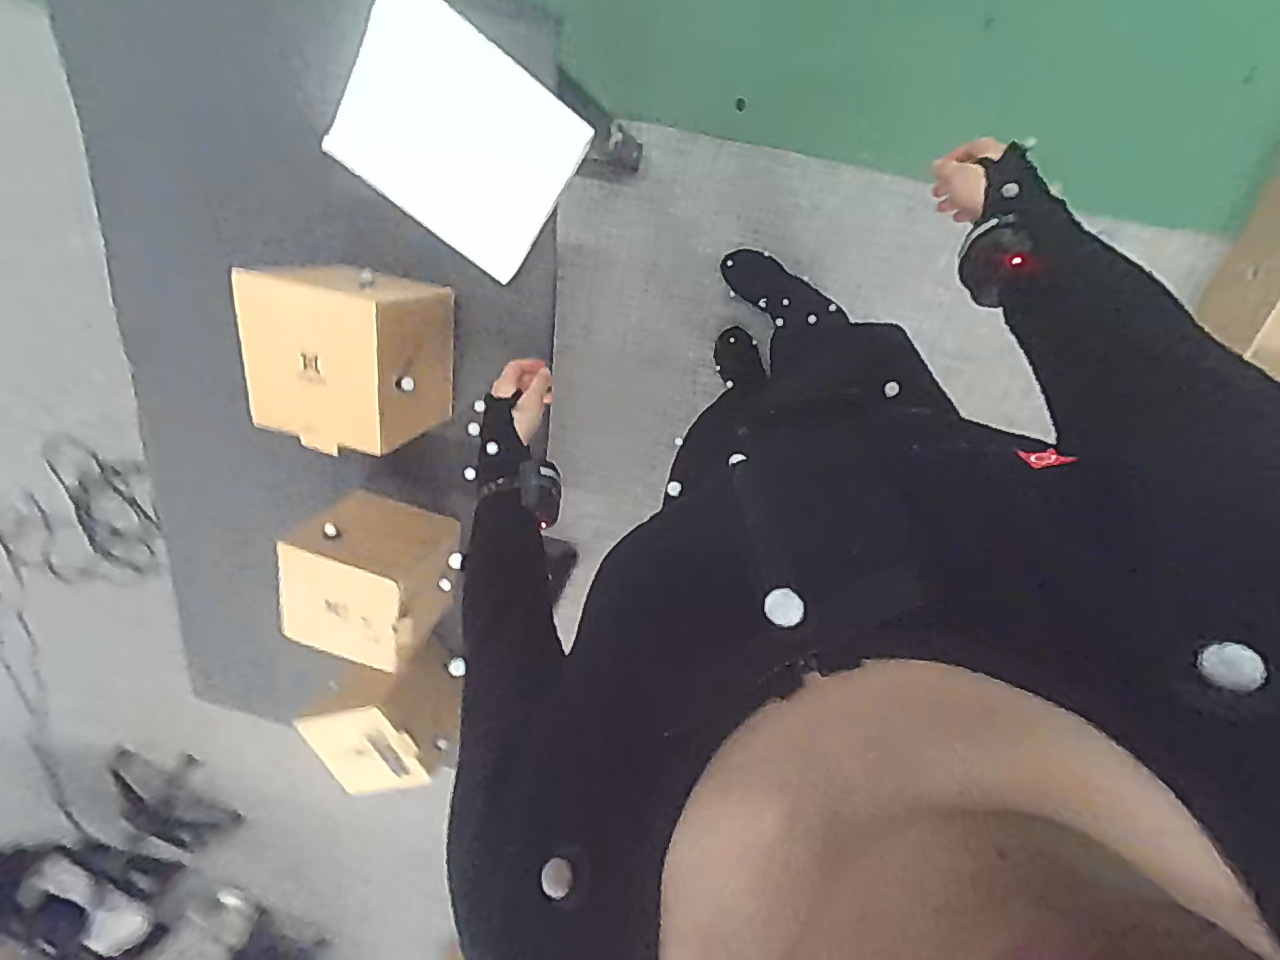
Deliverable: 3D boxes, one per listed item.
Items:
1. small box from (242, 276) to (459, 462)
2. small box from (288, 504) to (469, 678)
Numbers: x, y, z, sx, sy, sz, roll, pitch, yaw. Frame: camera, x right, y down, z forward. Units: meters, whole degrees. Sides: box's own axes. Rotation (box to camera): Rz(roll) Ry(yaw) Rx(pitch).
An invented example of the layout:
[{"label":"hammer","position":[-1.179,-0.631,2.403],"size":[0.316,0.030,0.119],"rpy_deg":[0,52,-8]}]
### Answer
[{"label":"small box","position":[-0.337,-0.146,0.666],"size":[0.168,0.176,0.179],"rpy_deg":[12,116,6]},{"label":"small box","position":[-0.379,0.153,0.802],"size":[0.179,0.176,0.168],"rpy_deg":[16,116,4]}]
